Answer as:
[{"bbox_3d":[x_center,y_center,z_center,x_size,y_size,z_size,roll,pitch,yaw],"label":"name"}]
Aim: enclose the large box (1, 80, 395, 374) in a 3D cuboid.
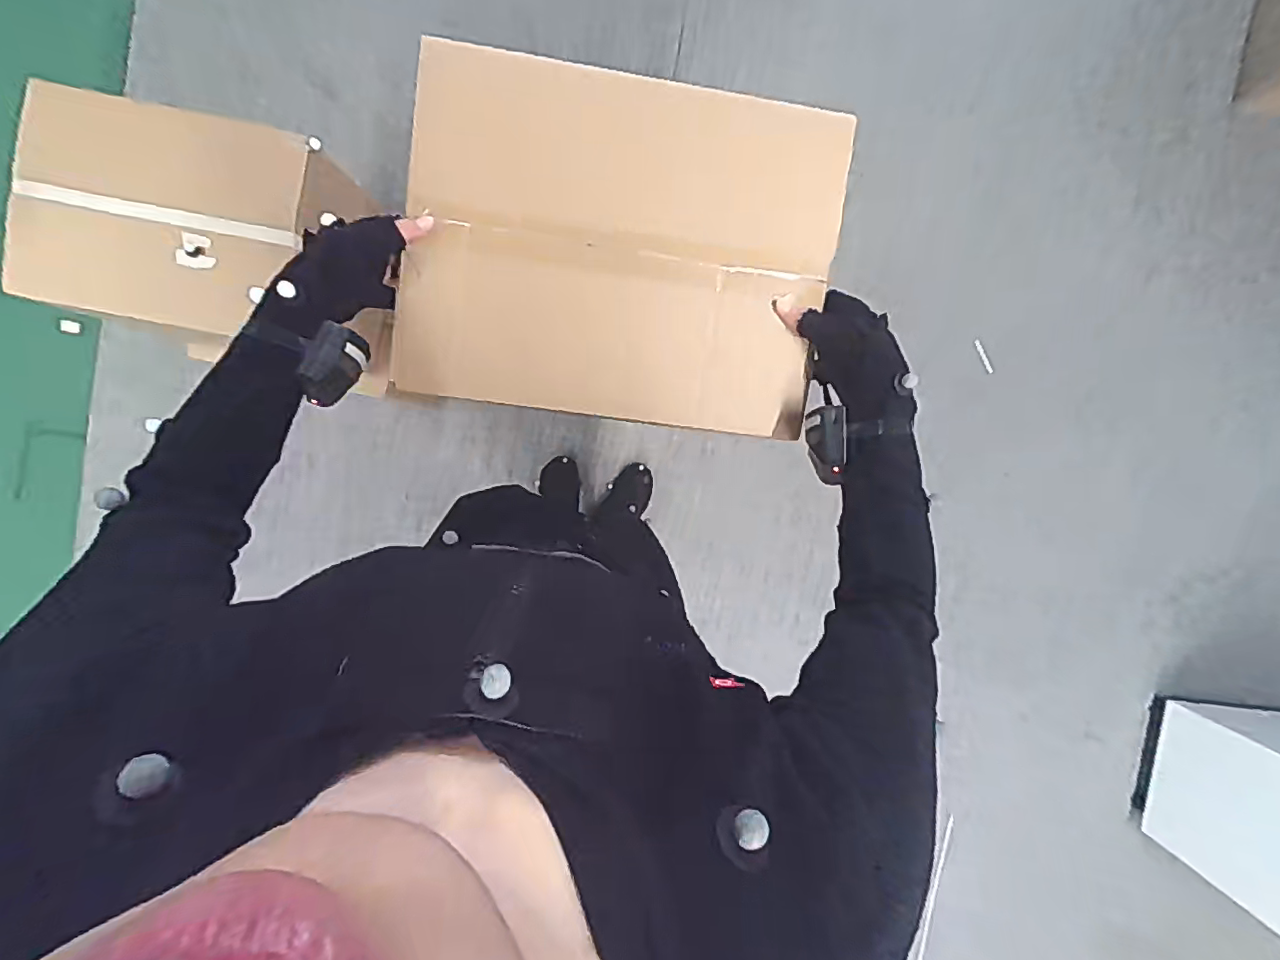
[{"bbox_3d":[-0.708,-0.395,0.938,0.408,0.320,0.320,11,91,-4],"label":"large box"}]
